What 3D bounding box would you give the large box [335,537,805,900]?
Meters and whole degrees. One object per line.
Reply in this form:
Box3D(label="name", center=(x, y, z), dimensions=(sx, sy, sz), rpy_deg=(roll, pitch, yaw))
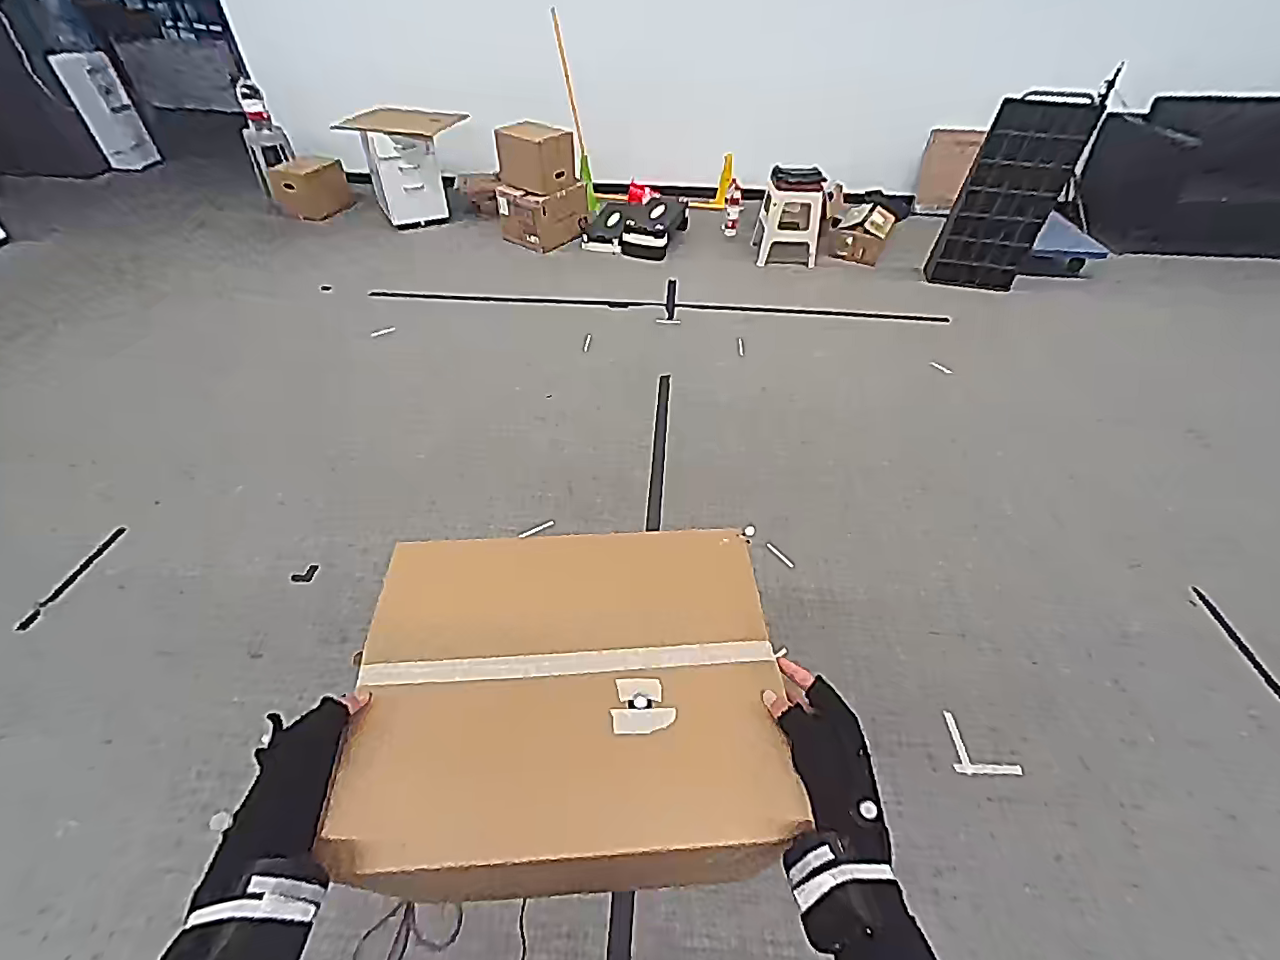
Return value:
Box3D(label="large box", center=(-0.069, 0.290, 0.659), dimensions=(0.408, 0.320, 0.320), rpy_deg=(-2, 49, -4))
